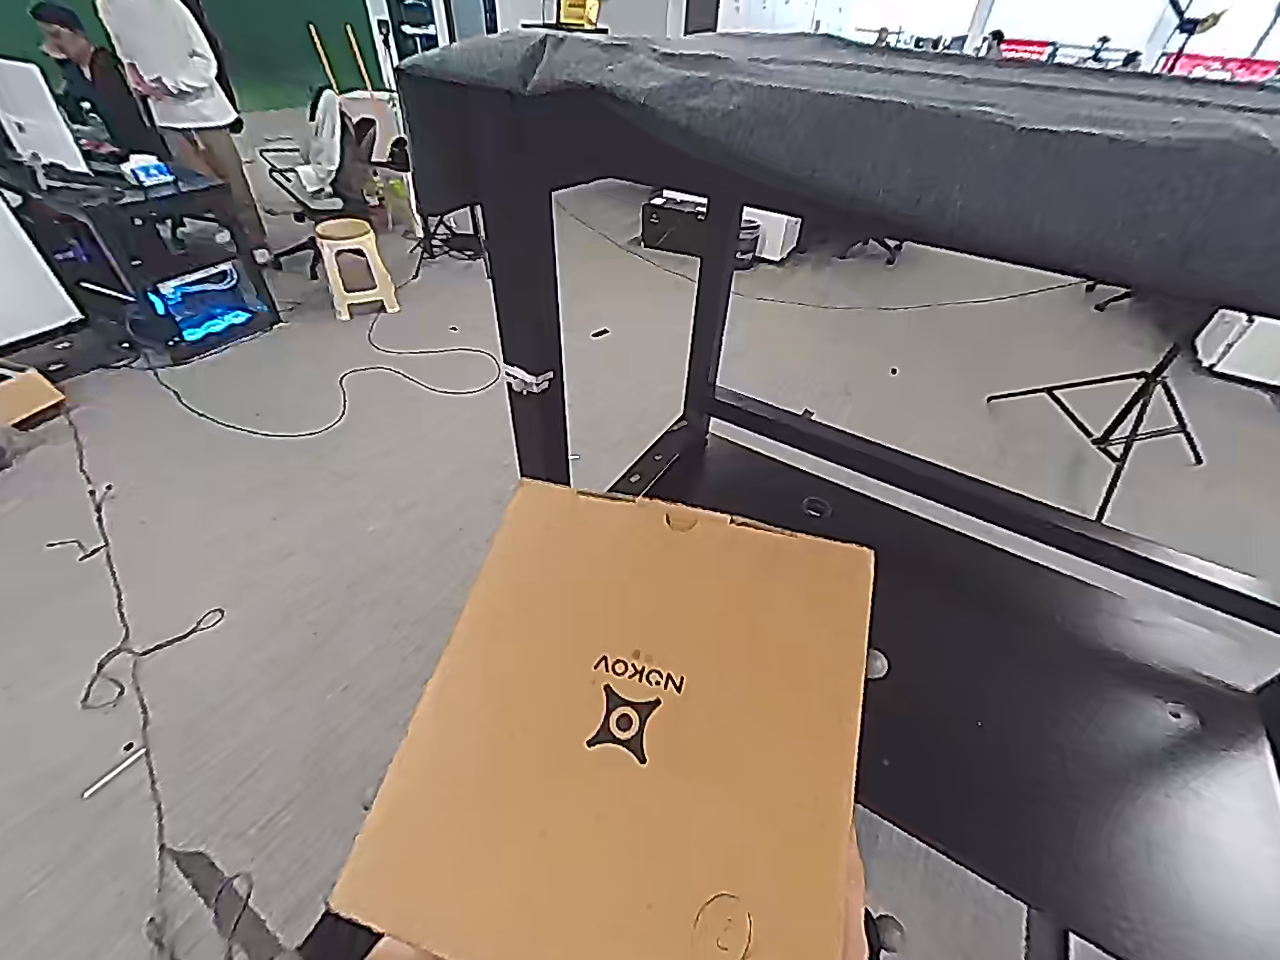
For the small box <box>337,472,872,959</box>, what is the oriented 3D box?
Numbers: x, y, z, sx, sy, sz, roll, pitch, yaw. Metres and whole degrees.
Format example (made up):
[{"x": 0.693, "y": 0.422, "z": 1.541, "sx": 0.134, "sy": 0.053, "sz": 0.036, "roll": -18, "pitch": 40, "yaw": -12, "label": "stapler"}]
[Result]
[{"x": 0.005, "y": 0.123, "z": 0.272, "sx": 0.168, "sy": 0.176, "sz": 0.179, "roll": 11, "pitch": 61, "yaw": 13, "label": "small box"}]
